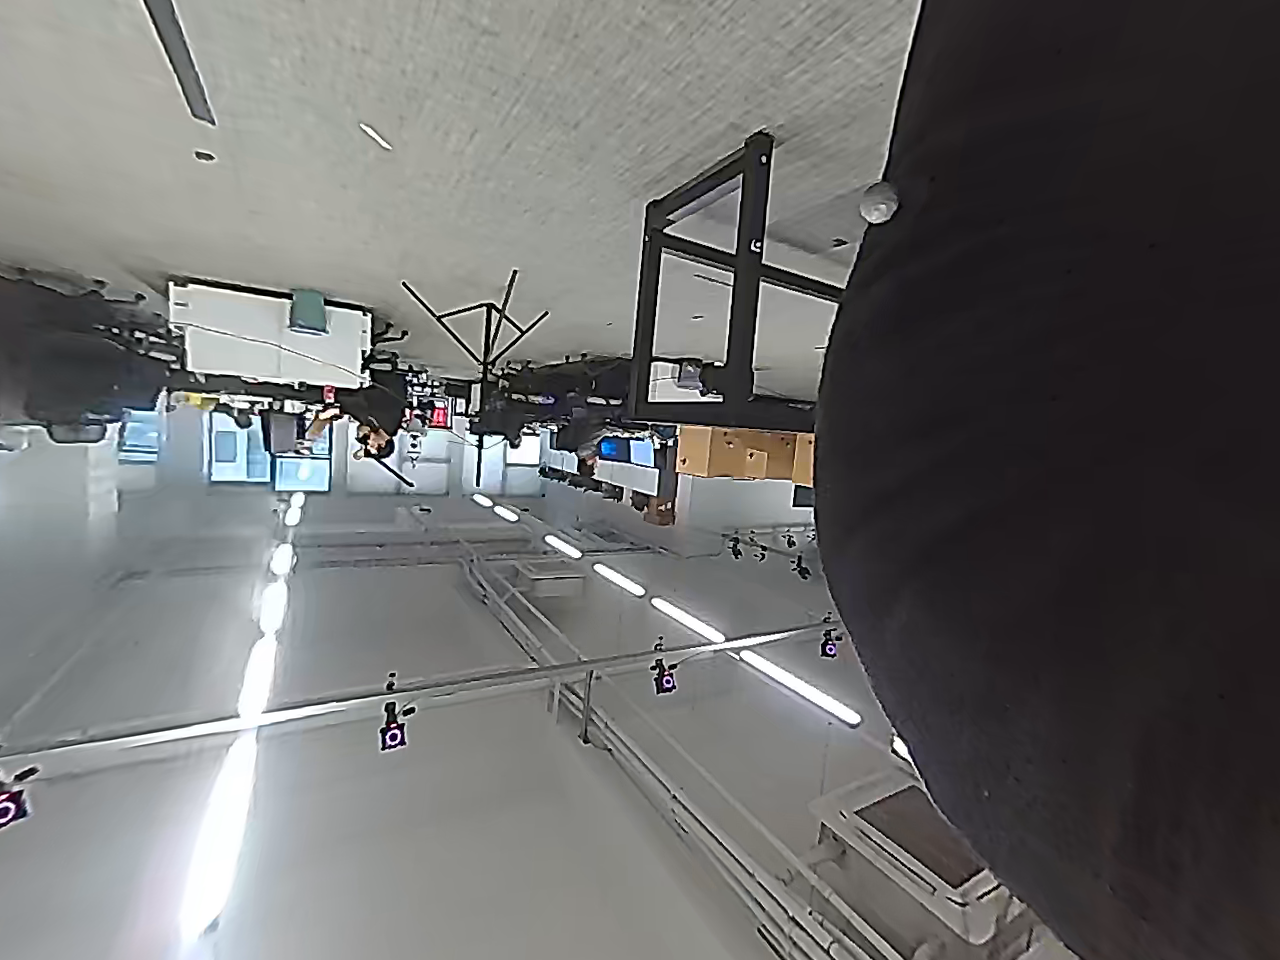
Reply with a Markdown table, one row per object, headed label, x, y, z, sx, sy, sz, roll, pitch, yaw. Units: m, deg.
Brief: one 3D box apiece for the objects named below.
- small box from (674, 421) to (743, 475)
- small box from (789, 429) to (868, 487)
| label | x | y | z | sx | sy | sz | roll | pitch | yaw |
| --- | --- | --- | --- | --- | --- | --- | --- | --- | --- |
| small box | 0.237 | -0.112 | 1.851 | 0.168 | 0.176 | 0.179 | 0 | -173 | -33 |
| small box | 0.611 | -0.072 | 1.745 | 0.179 | 0.176 | 0.168 | 3 | -175 | -30 |
